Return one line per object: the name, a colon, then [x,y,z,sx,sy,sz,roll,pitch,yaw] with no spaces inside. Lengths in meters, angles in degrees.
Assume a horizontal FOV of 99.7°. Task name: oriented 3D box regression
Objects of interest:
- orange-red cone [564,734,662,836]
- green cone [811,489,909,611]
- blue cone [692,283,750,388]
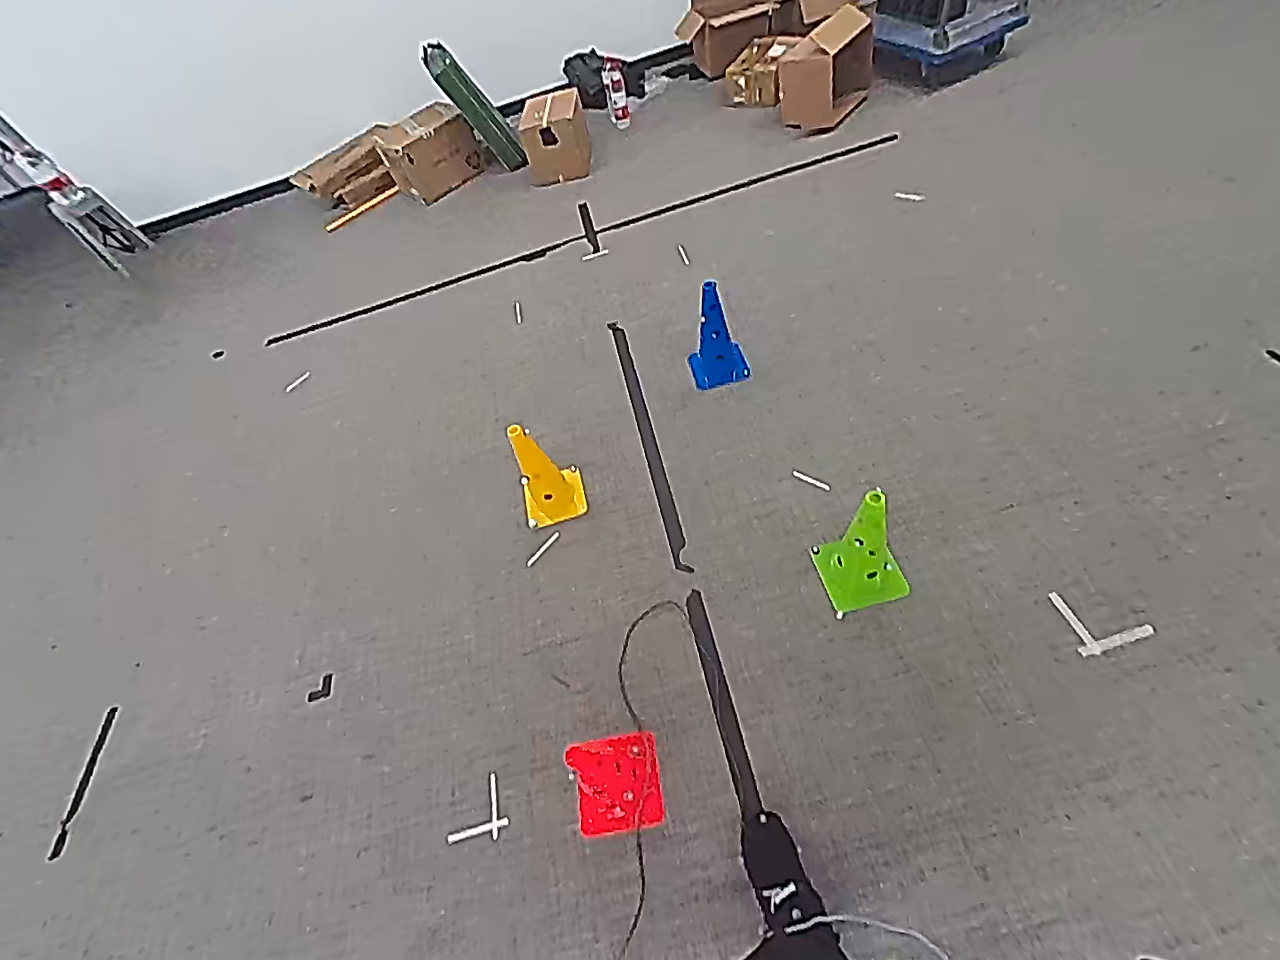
orange-red cone: [-0.089,0.615,1.144,0.199,0.360,0.198,-14,51,6]
green cone: [0.552,0.144,1.314,0.202,0.368,0.200,-16,52,2]
blue cone: [0.267,-0.516,1.888,0.192,0.380,0.193,-13,53,4]
